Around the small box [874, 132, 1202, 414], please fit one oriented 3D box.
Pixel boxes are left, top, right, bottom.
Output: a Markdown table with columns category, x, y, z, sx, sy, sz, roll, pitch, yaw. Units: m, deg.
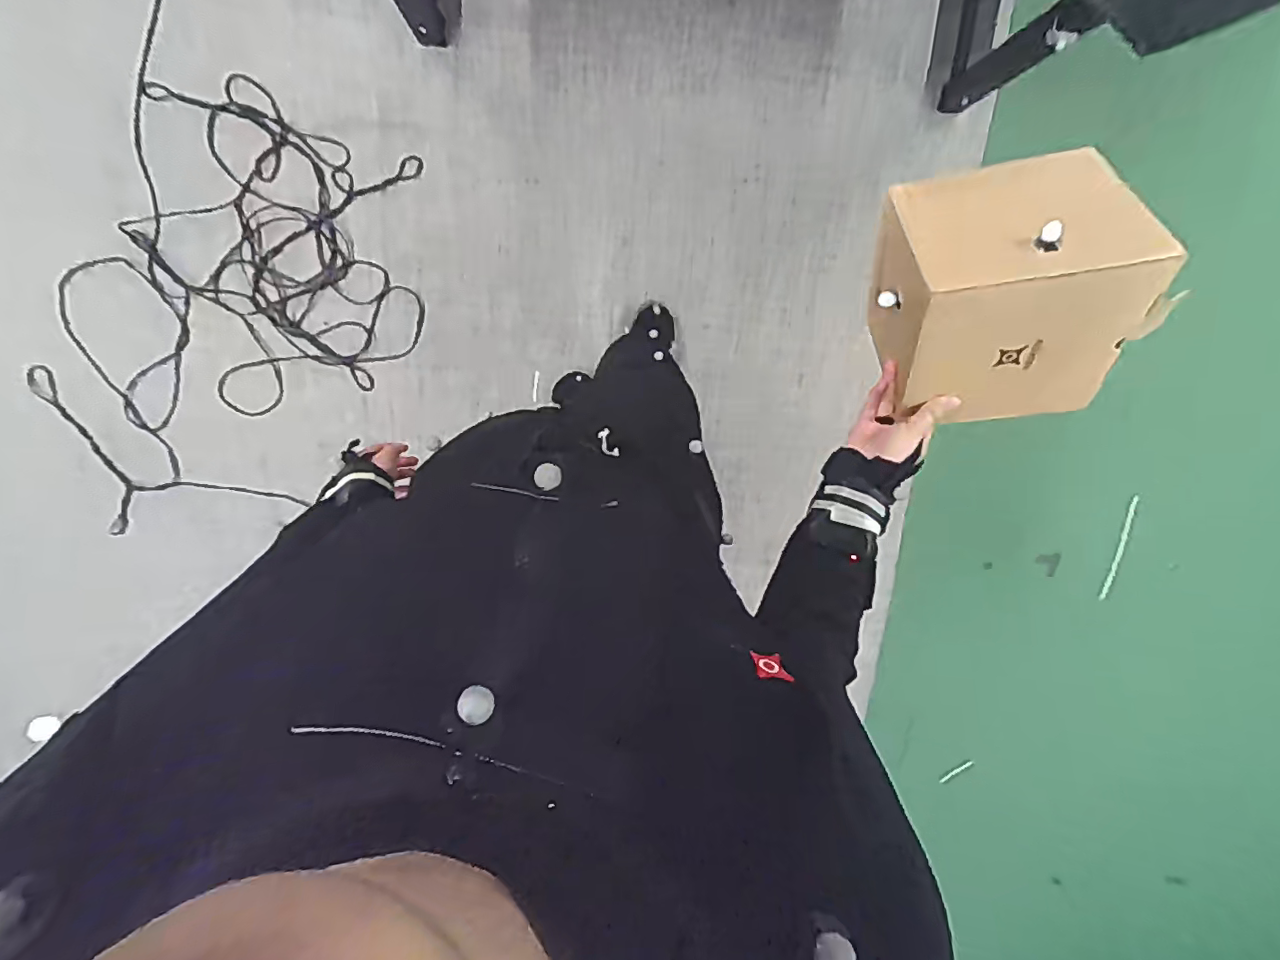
| category | x | y | z | sx | sy | sz | roll | pitch | yaw |
| --- | --- | --- | --- | --- | --- | --- | --- | --- | --- |
| small box | 0.328 | -0.185 | 0.501 | 0.179 | 0.176 | 0.168 | -6 | 144 | 12 |
